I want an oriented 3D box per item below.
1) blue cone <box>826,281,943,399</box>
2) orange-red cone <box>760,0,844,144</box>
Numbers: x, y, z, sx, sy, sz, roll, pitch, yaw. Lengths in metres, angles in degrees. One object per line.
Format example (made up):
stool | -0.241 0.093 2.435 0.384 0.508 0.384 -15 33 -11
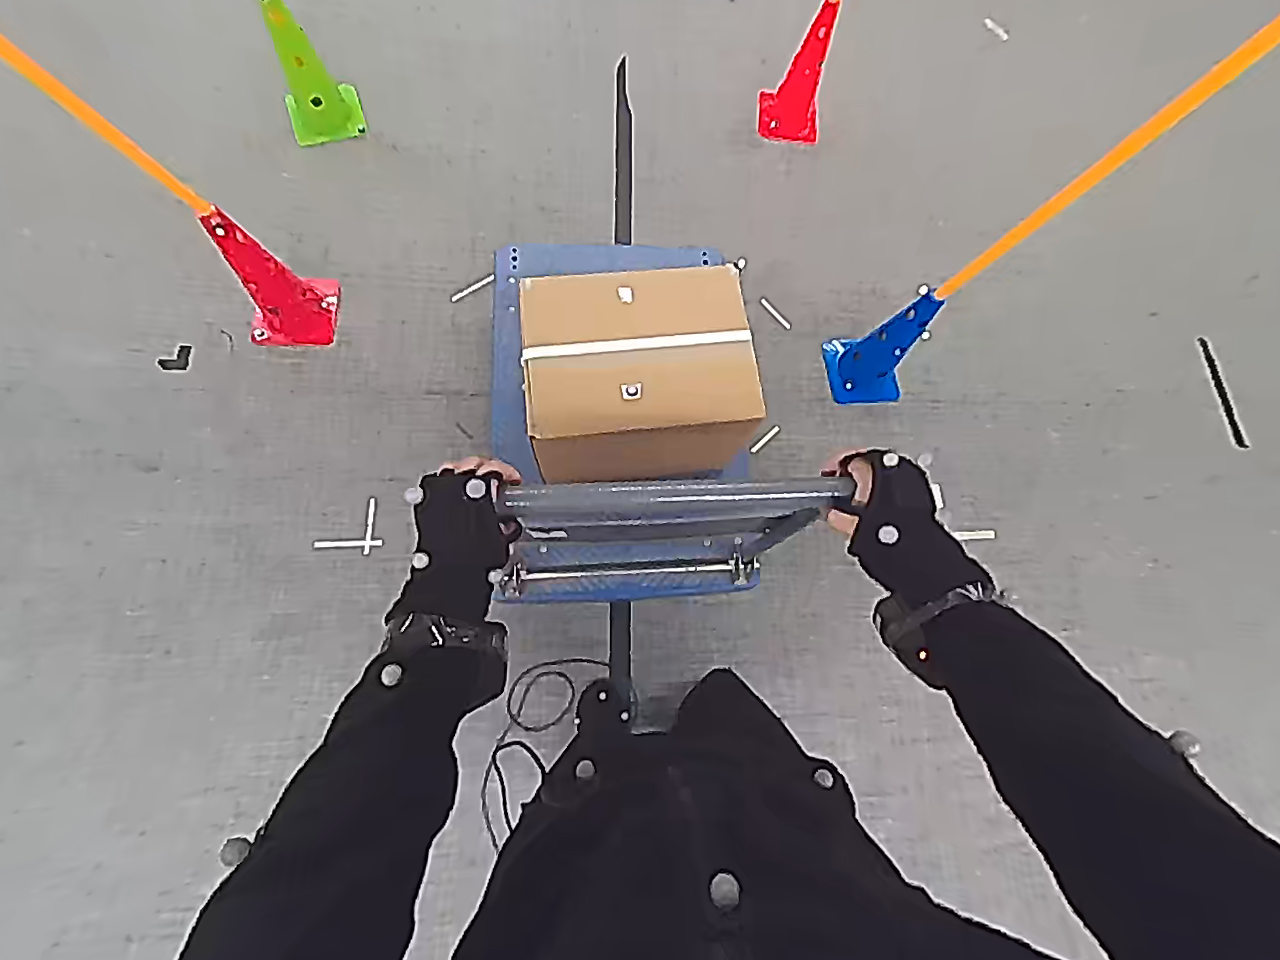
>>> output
blue cone | 0.652 -0.368 1.390 0.193 0.380 0.192 -3 73 -7
orange-red cone | 0.513 -1.241 1.612 0.199 0.360 0.198 7 74 -5
